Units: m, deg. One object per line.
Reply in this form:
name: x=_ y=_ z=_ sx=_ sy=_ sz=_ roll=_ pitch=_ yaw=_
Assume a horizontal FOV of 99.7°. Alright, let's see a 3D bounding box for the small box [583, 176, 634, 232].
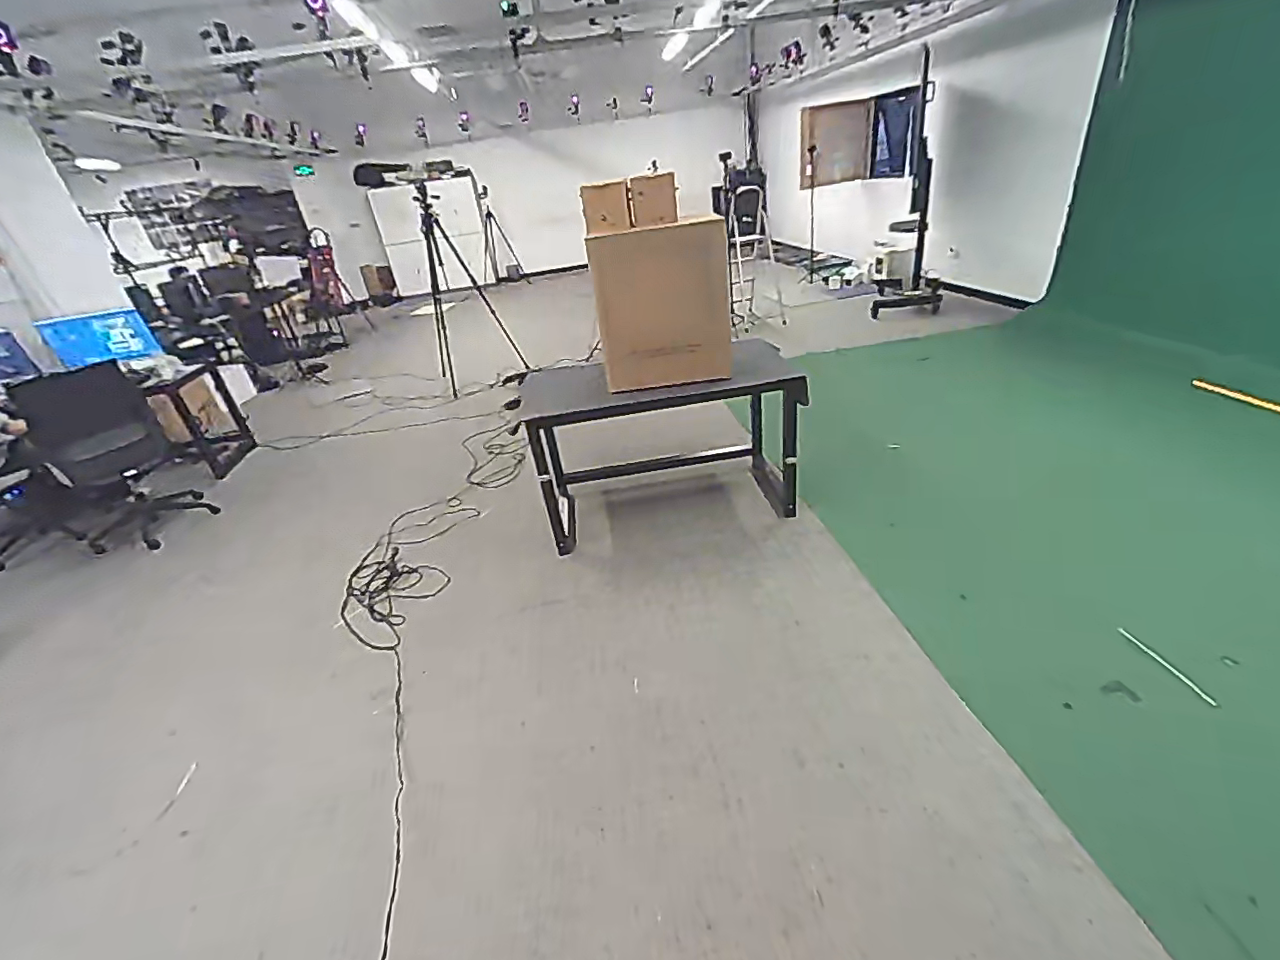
small box: x=-0.116 y=-1.054 z=2.068 sx=0.168 sy=0.176 sz=0.179 roll=-5 pitch=33 yaw=6
